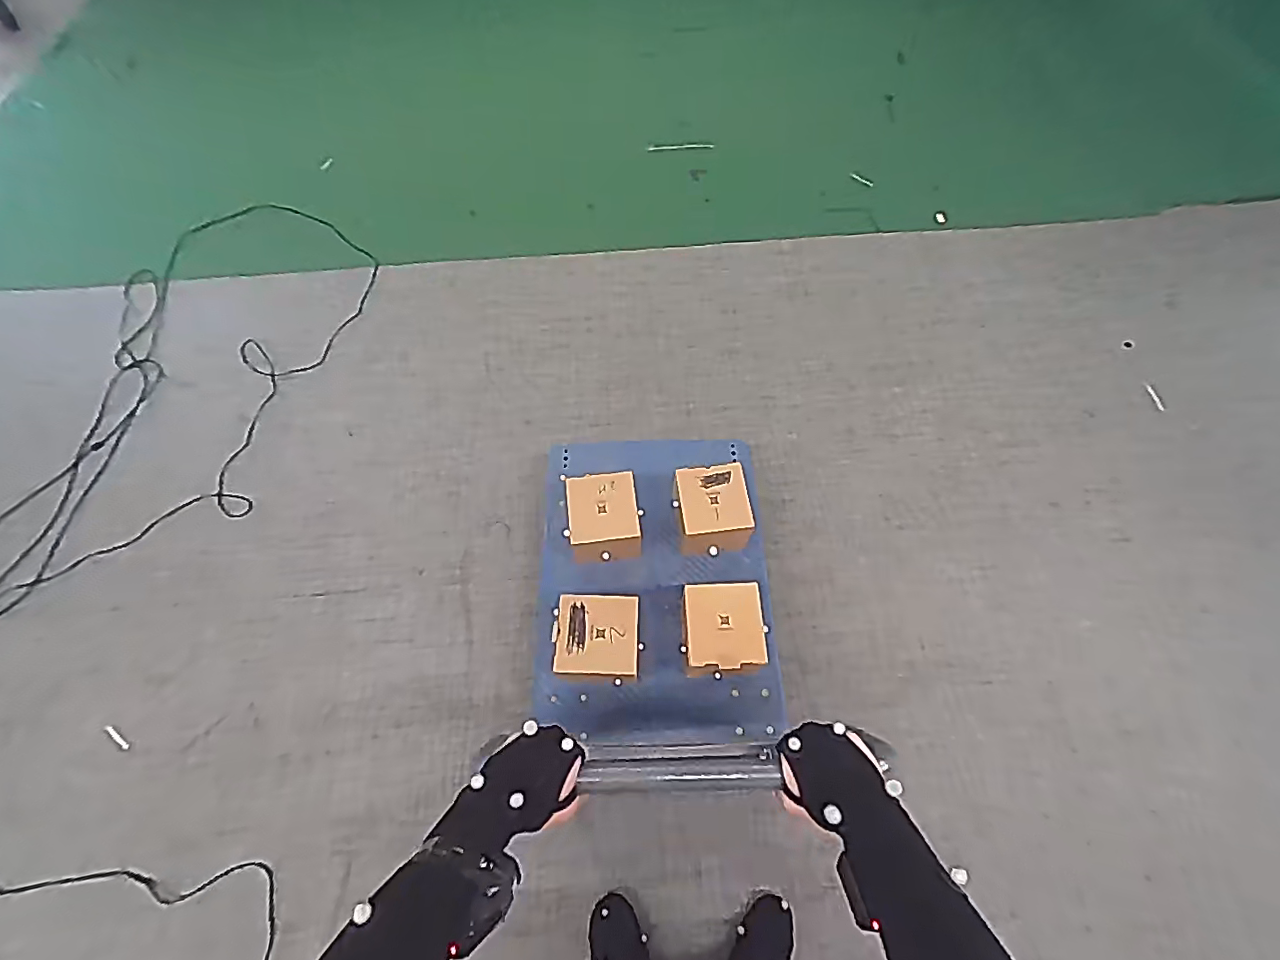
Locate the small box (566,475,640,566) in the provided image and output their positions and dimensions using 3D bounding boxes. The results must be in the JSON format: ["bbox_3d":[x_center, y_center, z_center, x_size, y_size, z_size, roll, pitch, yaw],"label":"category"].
[{"bbox_3d":[-0.090,0.108,1.360,0.168,0.176,0.179,-6,63,-4],"label":"small box"}]

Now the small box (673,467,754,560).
[{"bbox_3d":[0.178,0.087,1.370,0.168,0.176,0.179,-6,64,-3],"label":"small box"}]

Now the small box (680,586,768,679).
[{"bbox_3d":[0.183,0.351,1.236,0.168,0.176,0.179,-2,63,-1],"label":"small box"}]
